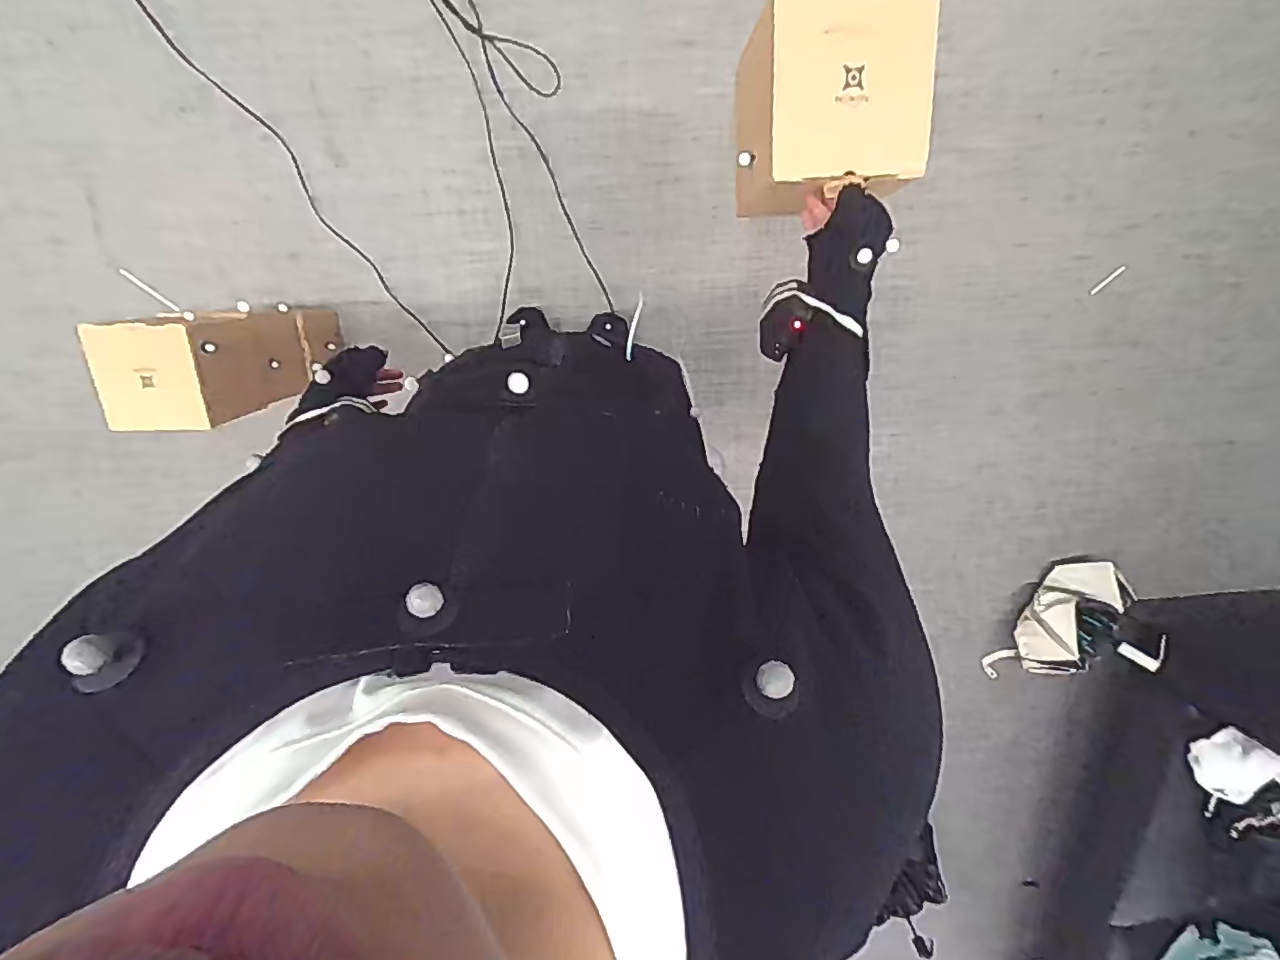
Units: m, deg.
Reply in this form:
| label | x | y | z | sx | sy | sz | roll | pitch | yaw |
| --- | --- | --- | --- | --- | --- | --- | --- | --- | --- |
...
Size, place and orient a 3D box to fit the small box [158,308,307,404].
| label | x | y | z | sx | sy | sz | roll | pitch | yaw |
| --- | --- | --- | --- | --- | --- | --- | --- | --- | --- |
| small box | -0.818 | -0.257 | 1.108 | 0.168 | 0.176 | 0.179 | -1 | 109 | -4 |

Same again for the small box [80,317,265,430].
| label | x | y | z | sx | sy | sz | roll | pitch | yaw |
| --- | --- | --- | --- | --- | --- | --- | --- | --- | --- |
| small box | -0.806 | -0.194 | 0.958 | 0.168 | 0.176 | 0.179 | -1 | 109 | -3 |

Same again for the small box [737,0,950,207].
| label | x | y | z | sx | sy | sz | roll | pitch | yaw |
| --- | --- | --- | --- | --- | --- | --- | --- | --- | --- |
| small box | 0.207 | -0.411 | 0.597 | 0.168 | 0.176 | 0.179 | -3 | 105 | -3 |

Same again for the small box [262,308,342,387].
| label | x | y | z | sx | sy | sz | roll | pitch | yaw |
| --- | --- | --- | --- | --- | --- | --- | --- | --- | --- |
| small box | -0.822 | -0.313 | 1.263 | 0.179 | 0.176 | 0.168 | -2 | 110 | -4 |
